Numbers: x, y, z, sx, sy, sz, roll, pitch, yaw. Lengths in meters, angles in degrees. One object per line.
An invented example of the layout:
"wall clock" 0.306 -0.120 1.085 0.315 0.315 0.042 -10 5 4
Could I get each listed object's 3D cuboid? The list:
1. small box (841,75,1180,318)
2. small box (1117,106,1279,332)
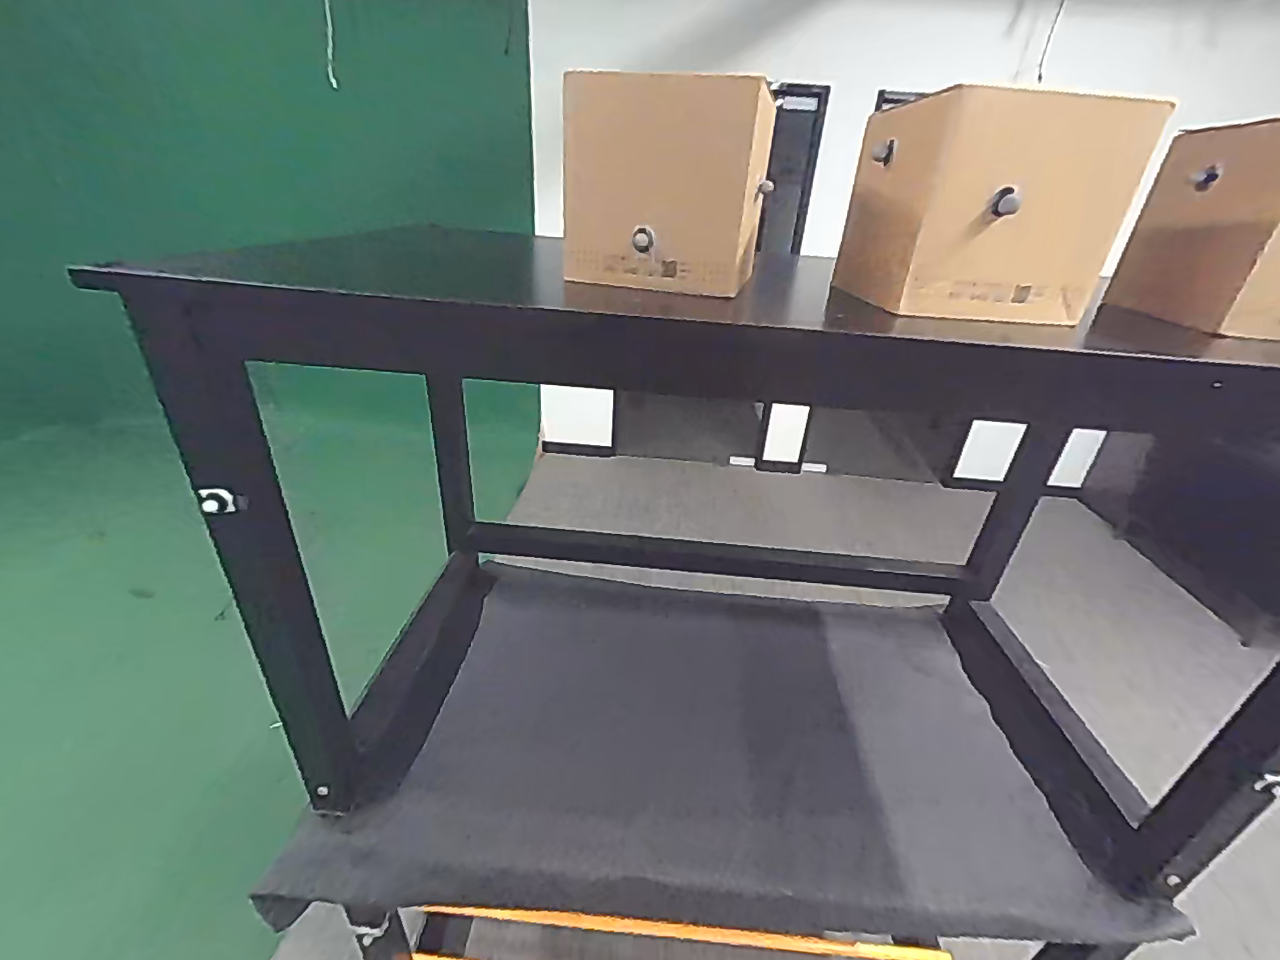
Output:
"small box" 0.307 -0.251 0.499 0.168 0.176 0.179 3 27 -2
"small box" 0.600 -0.231 0.492 0.168 0.176 0.179 7 29 7
